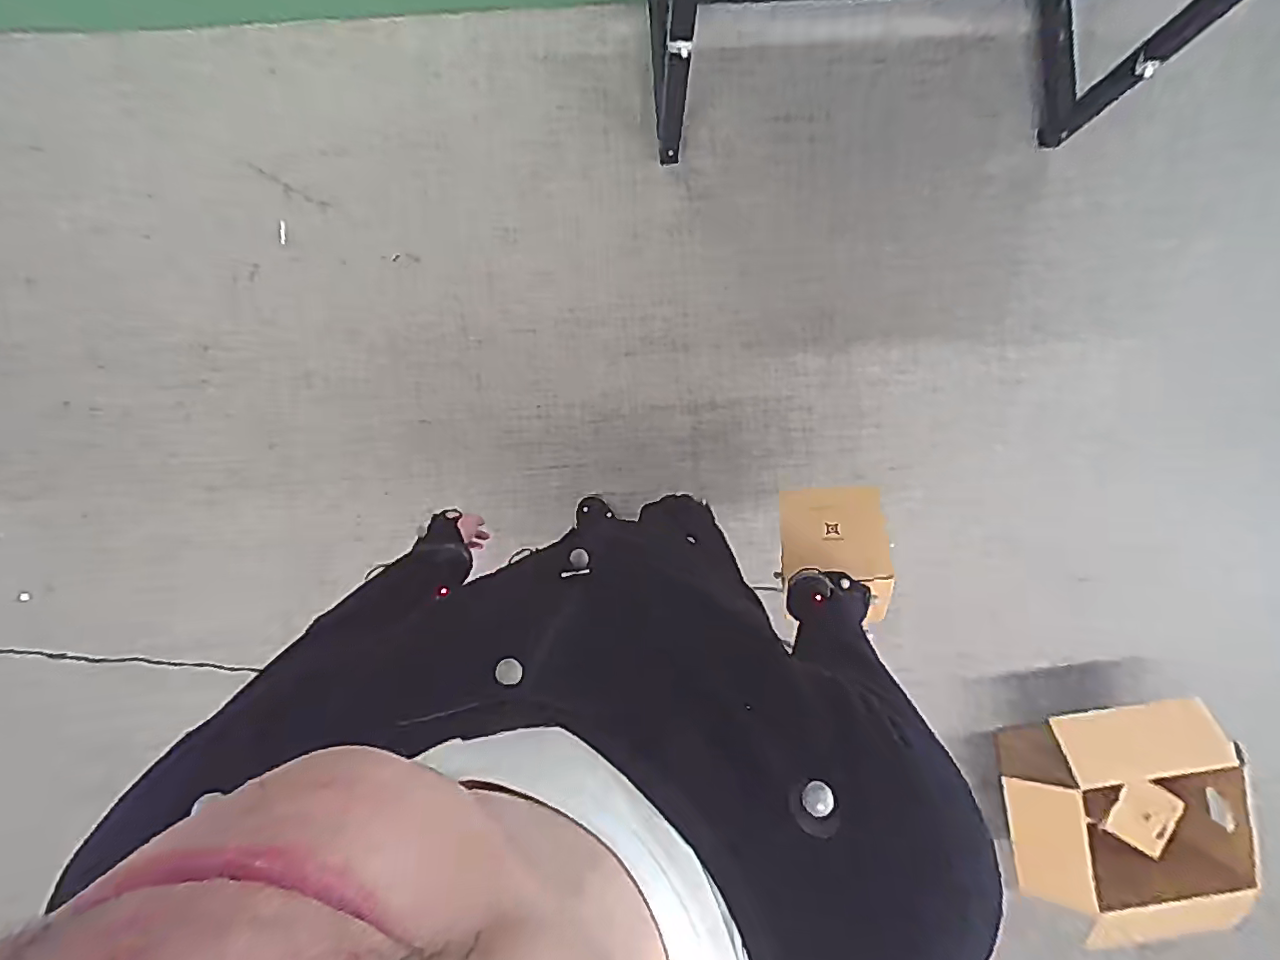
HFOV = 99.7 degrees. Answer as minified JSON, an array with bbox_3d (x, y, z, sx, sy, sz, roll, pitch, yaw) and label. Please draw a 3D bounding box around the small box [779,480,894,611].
[{"bbox_3d":[0.332,0.120,0.943,0.168,0.176,0.179,-3,55,13],"label":"small box"}]
